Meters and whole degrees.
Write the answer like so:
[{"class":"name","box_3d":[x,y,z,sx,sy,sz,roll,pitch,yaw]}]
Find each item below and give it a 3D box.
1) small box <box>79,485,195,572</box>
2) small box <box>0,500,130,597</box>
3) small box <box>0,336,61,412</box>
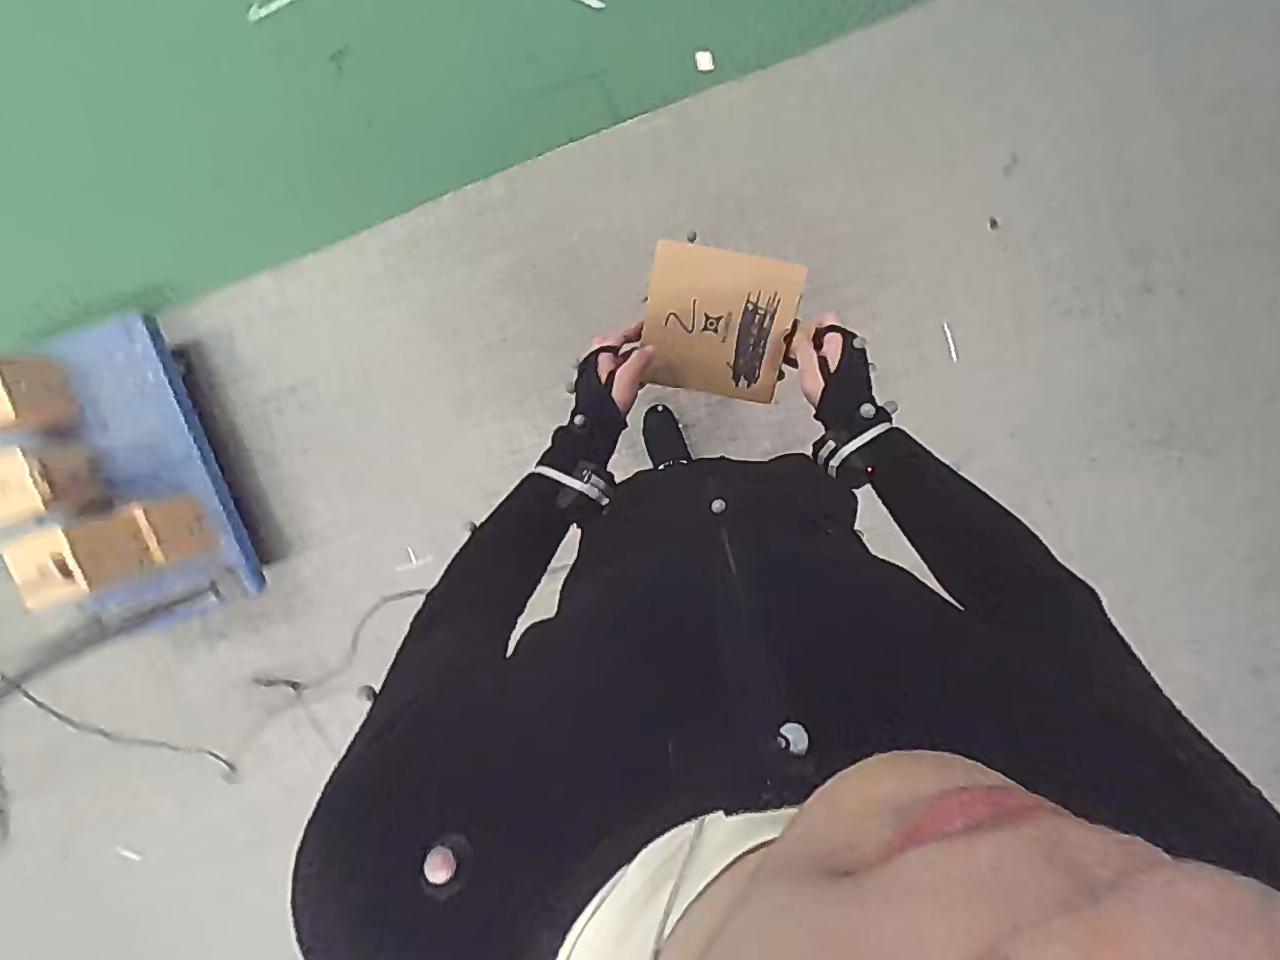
[{"class":"small box","box_3d":[-1.357,0.126,1.464,0.168,0.176,0.179,13,99,-1]},{"class":"small box","box_3d":[-1.387,0.155,1.296,0.179,0.176,0.168,-17,95,6]},{"class":"small box","box_3d":[-1.704,-0.277,1.422,0.168,0.176,0.179,-16,97,4]}]
